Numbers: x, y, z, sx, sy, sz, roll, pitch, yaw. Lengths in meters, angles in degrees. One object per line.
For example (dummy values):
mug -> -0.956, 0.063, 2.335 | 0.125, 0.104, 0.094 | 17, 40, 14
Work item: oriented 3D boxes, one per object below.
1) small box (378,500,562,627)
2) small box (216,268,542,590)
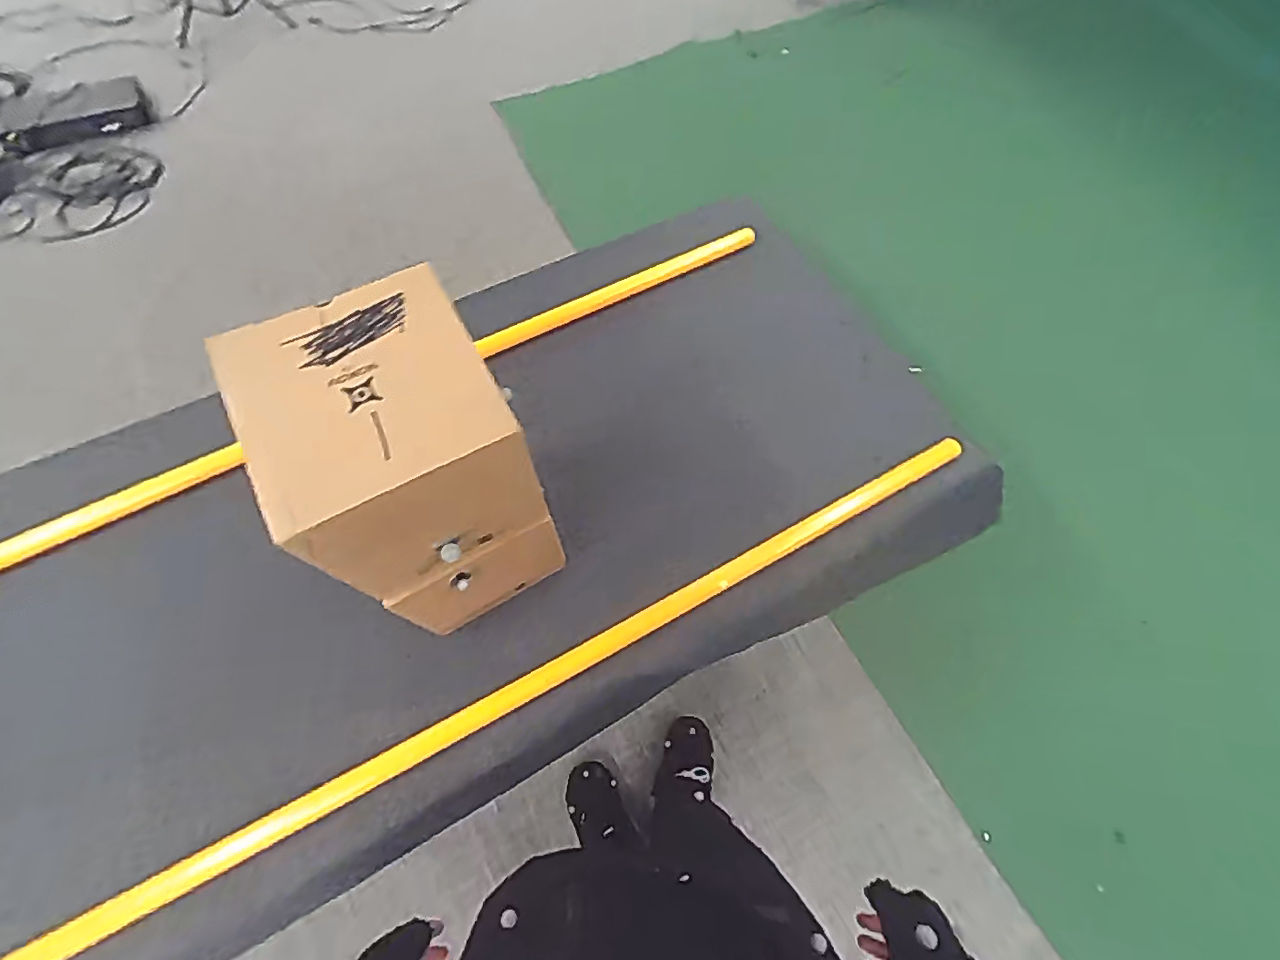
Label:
small box -> -0.202, 0.039, 0.602 | 0.168, 0.176, 0.179 | -29, 69, -13
small box -> -0.198, -0.033, 0.453 | 0.168, 0.176, 0.179 | -27, 70, -13
